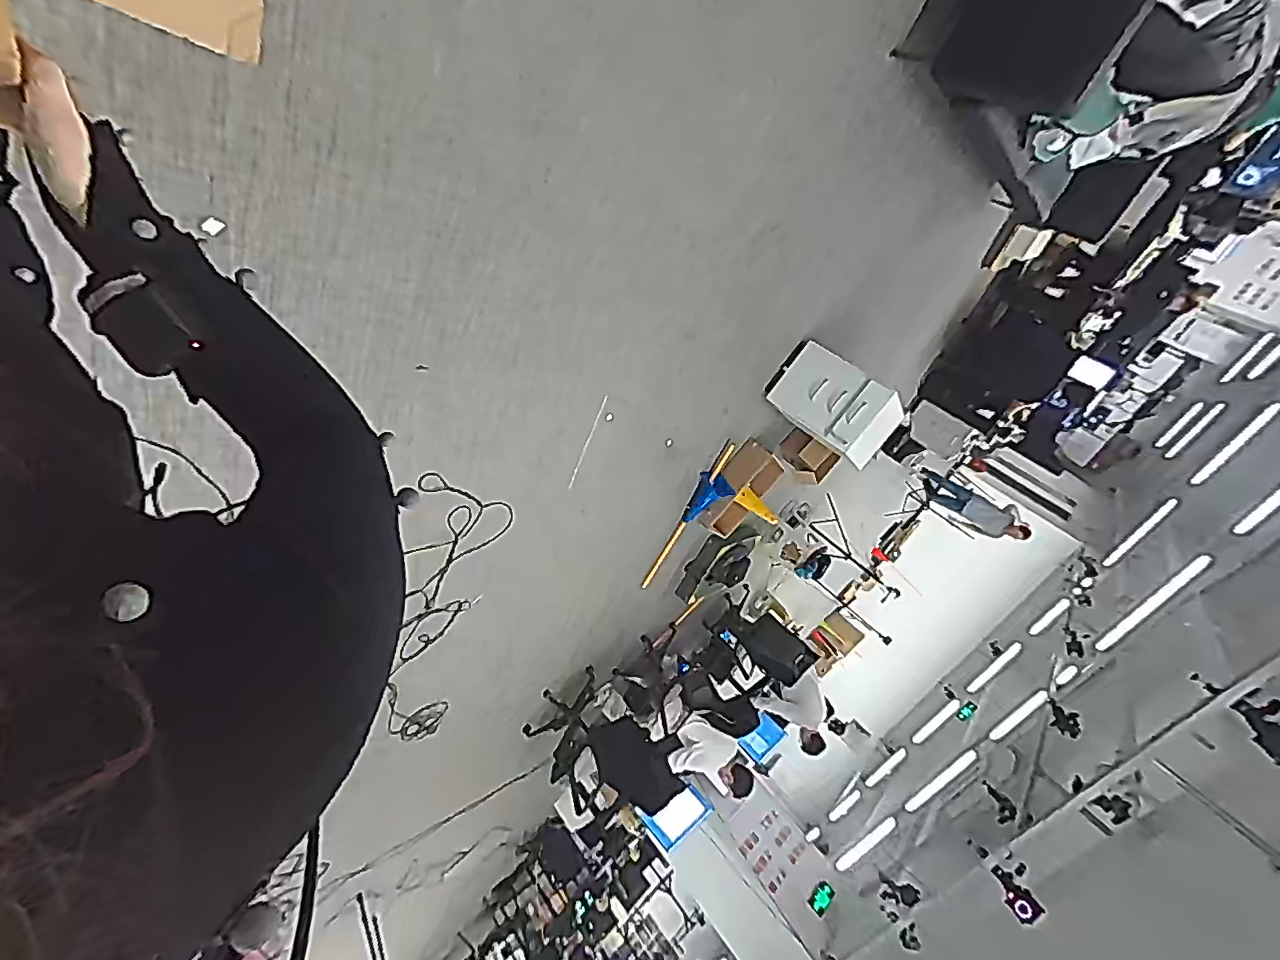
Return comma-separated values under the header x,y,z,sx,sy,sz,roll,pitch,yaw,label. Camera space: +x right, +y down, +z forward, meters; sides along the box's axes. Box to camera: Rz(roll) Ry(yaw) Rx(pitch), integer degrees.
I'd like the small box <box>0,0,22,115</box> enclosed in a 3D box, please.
x,y,z,sx,sy,sz,roll,pitch,yaw,label
-0.469,-0.333,0.286,0.168,0.176,0.179,-12,111,-46,small box
